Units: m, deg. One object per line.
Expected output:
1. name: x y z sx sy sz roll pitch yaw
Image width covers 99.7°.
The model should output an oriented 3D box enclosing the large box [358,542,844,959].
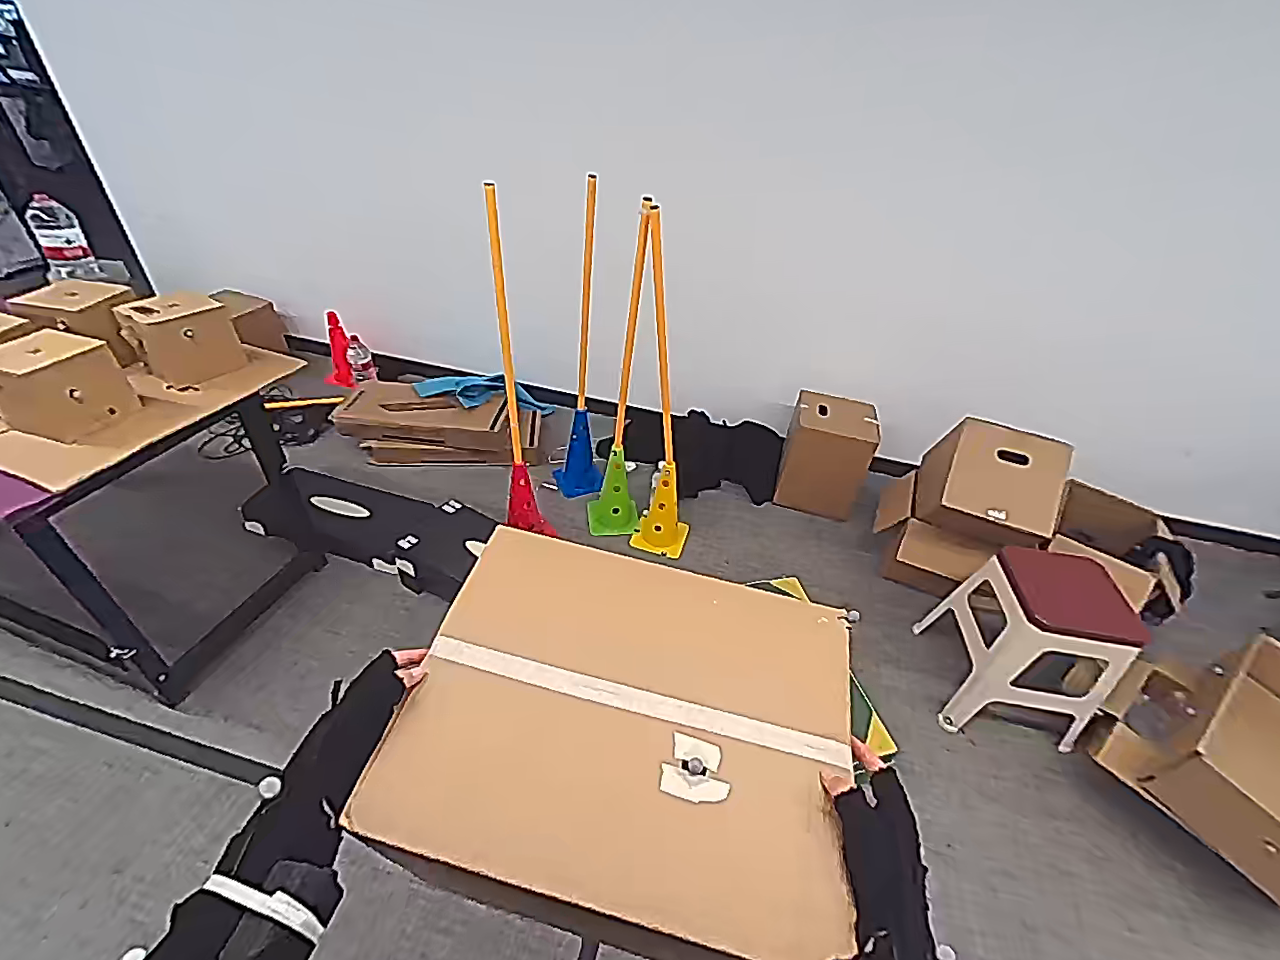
1. large box: -0.021 0.321 0.629 0.408 0.320 0.320 13 48 6
